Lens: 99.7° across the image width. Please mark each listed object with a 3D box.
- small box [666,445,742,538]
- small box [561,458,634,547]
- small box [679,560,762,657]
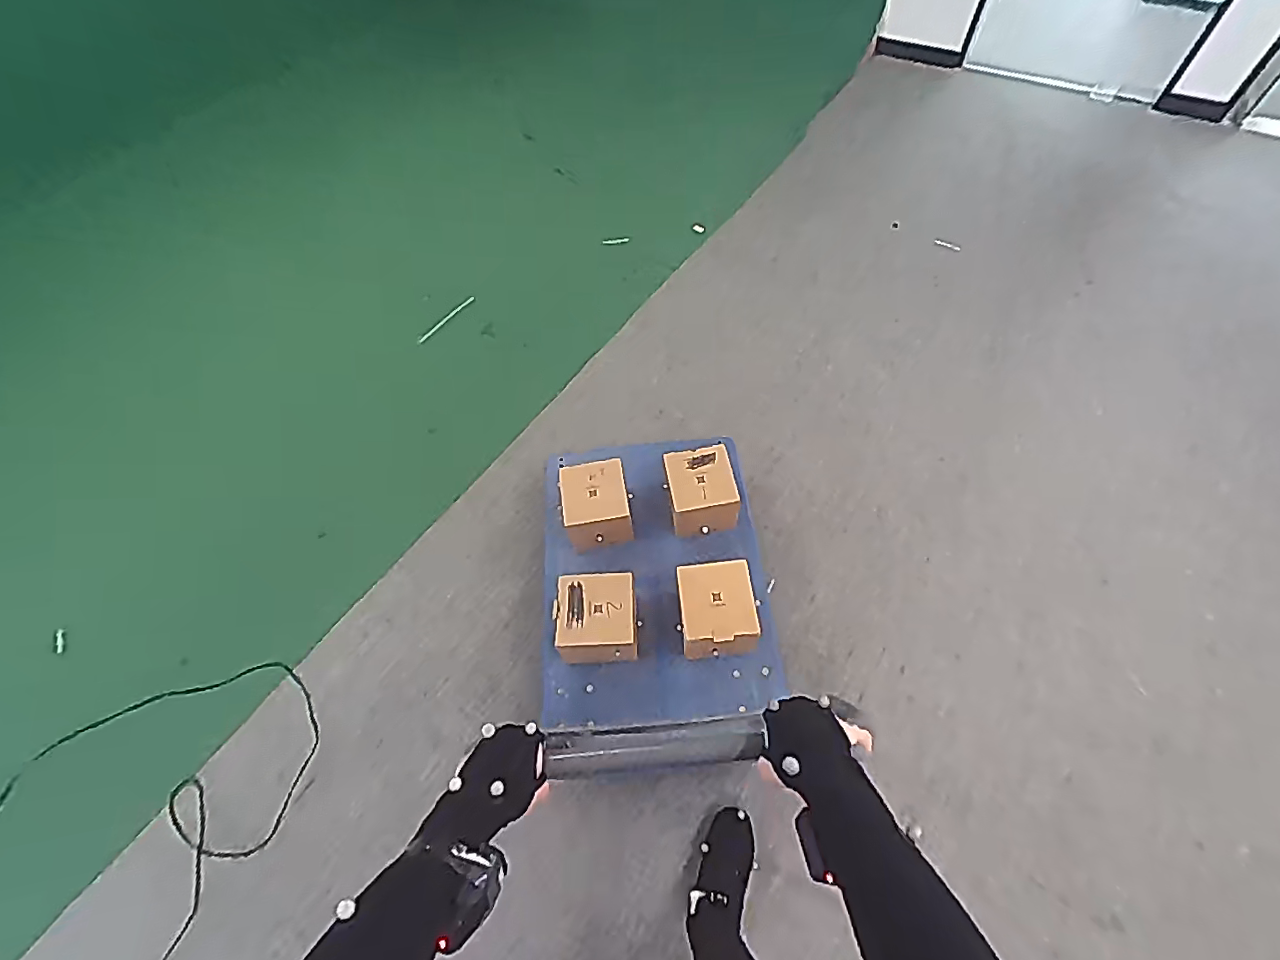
[{"bbox_3d":[0.164,0.033,1.440,0.168,0.176,0.179,-10,60,-1],"label":"small box"},{"bbox_3d":[-0.110,0.067,1.441,0.168,0.176,0.179,-9,59,-2],"label":"small box"},{"bbox_3d":[0.181,0.307,1.280,0.168,0.176,0.179,-6,60,1],"label":"small box"}]
